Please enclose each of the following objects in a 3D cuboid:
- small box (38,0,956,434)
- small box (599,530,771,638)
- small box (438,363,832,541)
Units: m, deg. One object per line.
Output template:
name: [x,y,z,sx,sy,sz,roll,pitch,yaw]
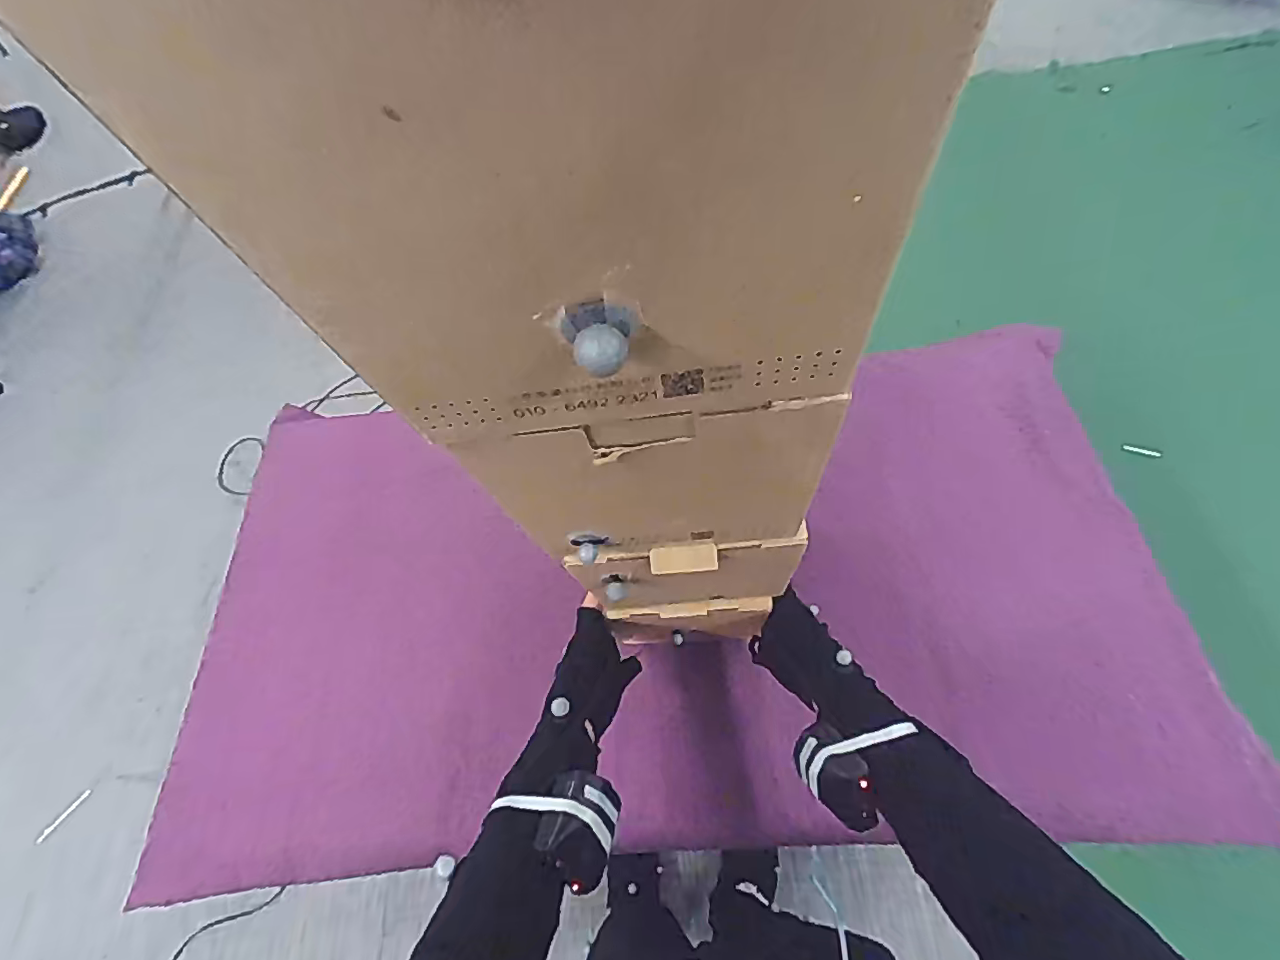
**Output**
small box: [-0.023,-0.136,0.174,0.168,0.176,0.179,-6,65,6]
small box: [0.049,0.076,0.614,0.168,0.176,0.179,-5,67,6]
small box: [0.003,-0.069,0.322,0.168,0.176,0.179,-6,64,6]
